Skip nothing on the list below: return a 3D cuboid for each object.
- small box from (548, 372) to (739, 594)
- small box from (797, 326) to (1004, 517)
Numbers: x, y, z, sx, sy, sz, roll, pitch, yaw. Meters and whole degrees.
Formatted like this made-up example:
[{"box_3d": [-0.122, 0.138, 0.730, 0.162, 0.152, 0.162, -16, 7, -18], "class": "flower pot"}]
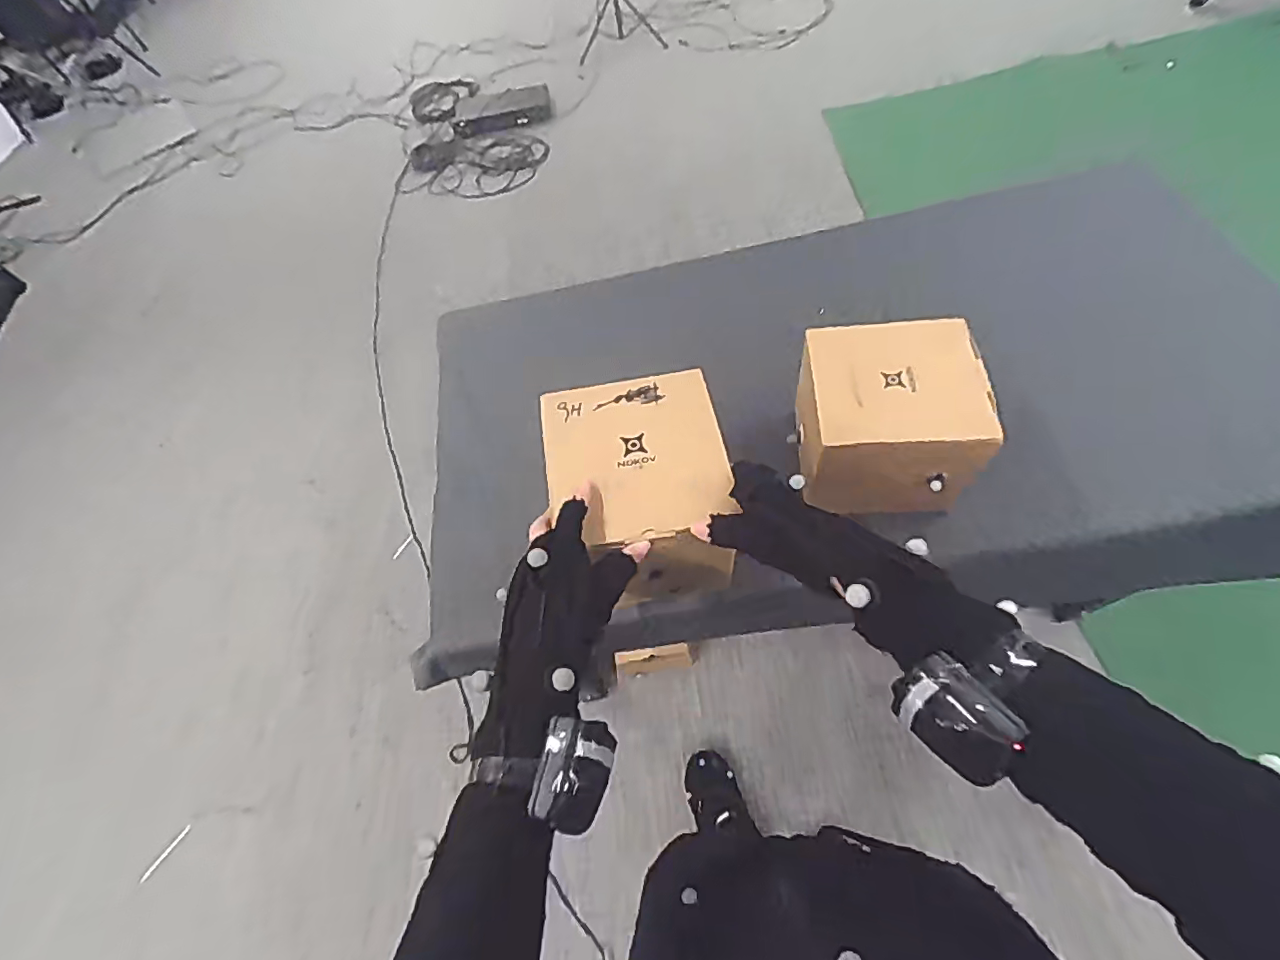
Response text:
[{"box_3d": [0.002, 0.014, 0.577, 0.168, 0.176, 0.179, -8, 61, -2], "class": "small box"}, {"box_3d": [0.294, -0.062, 0.655, 0.179, 0.176, 0.168, -2, 61, 10], "class": "small box"}]
